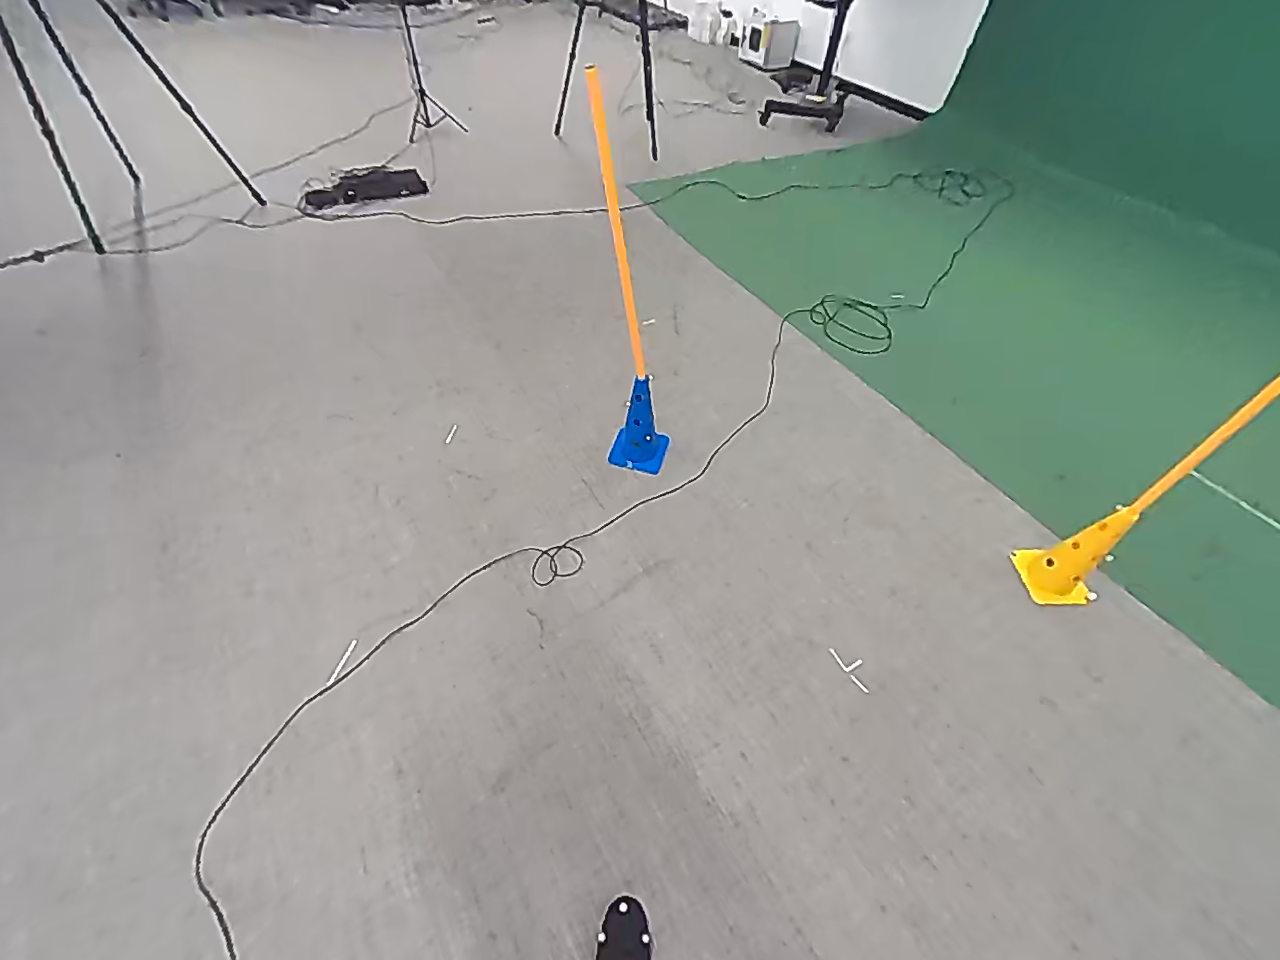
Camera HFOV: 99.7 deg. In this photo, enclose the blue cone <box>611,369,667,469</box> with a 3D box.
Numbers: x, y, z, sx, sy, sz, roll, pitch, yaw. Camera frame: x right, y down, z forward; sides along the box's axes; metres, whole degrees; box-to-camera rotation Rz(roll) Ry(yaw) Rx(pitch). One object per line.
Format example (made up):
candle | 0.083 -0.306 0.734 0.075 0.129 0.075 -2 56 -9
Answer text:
blue cone | 0.001 -0.223 1.891 0.193 0.380 0.192 12 51 8
